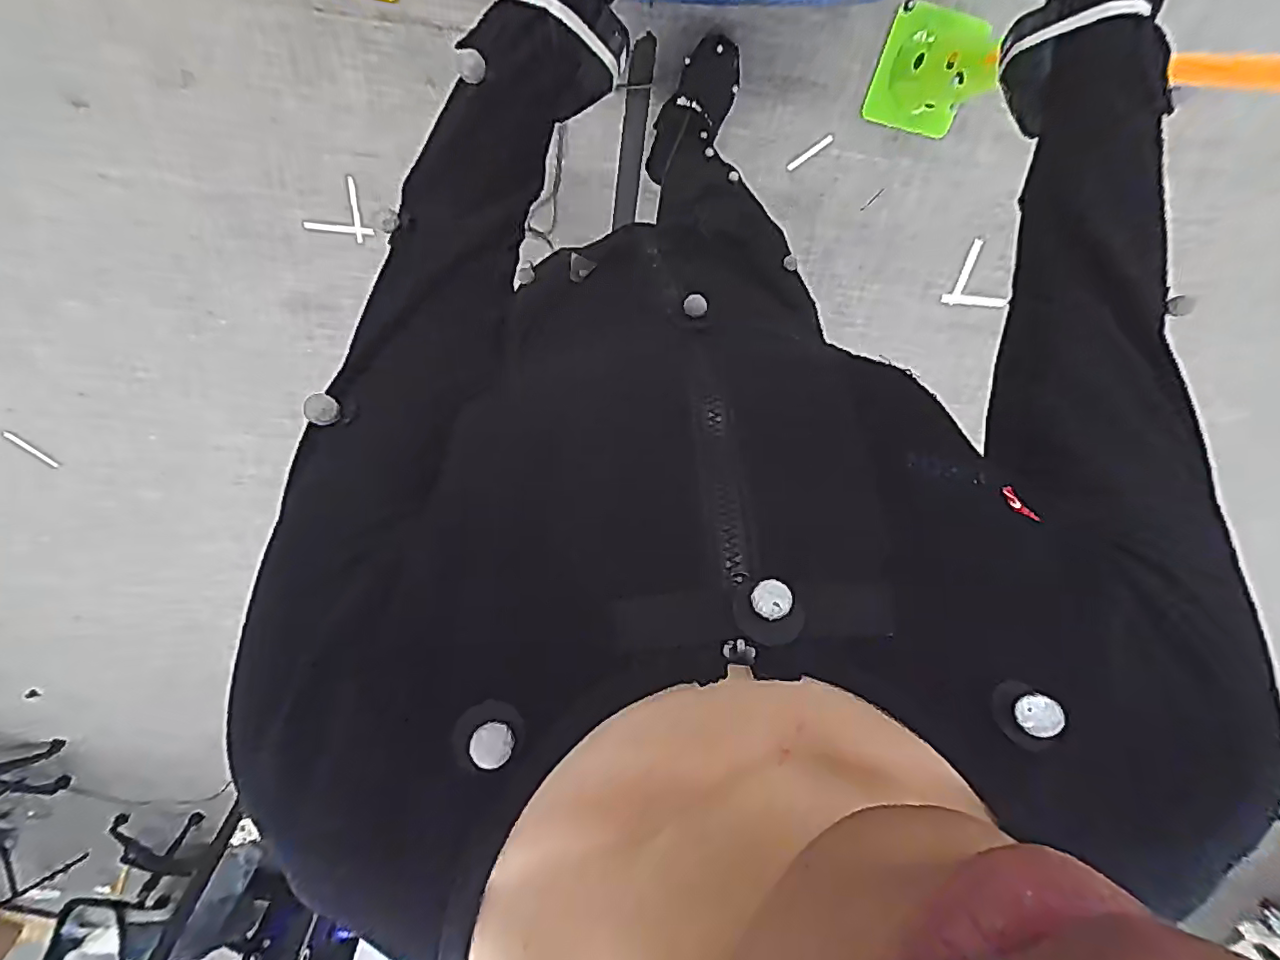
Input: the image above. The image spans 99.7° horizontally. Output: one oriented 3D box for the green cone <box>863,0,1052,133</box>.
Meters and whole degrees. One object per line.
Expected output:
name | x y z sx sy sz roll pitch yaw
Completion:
green cone | 0.587 -0.739 0.961 0.202 0.368 0.200 7 125 -9
